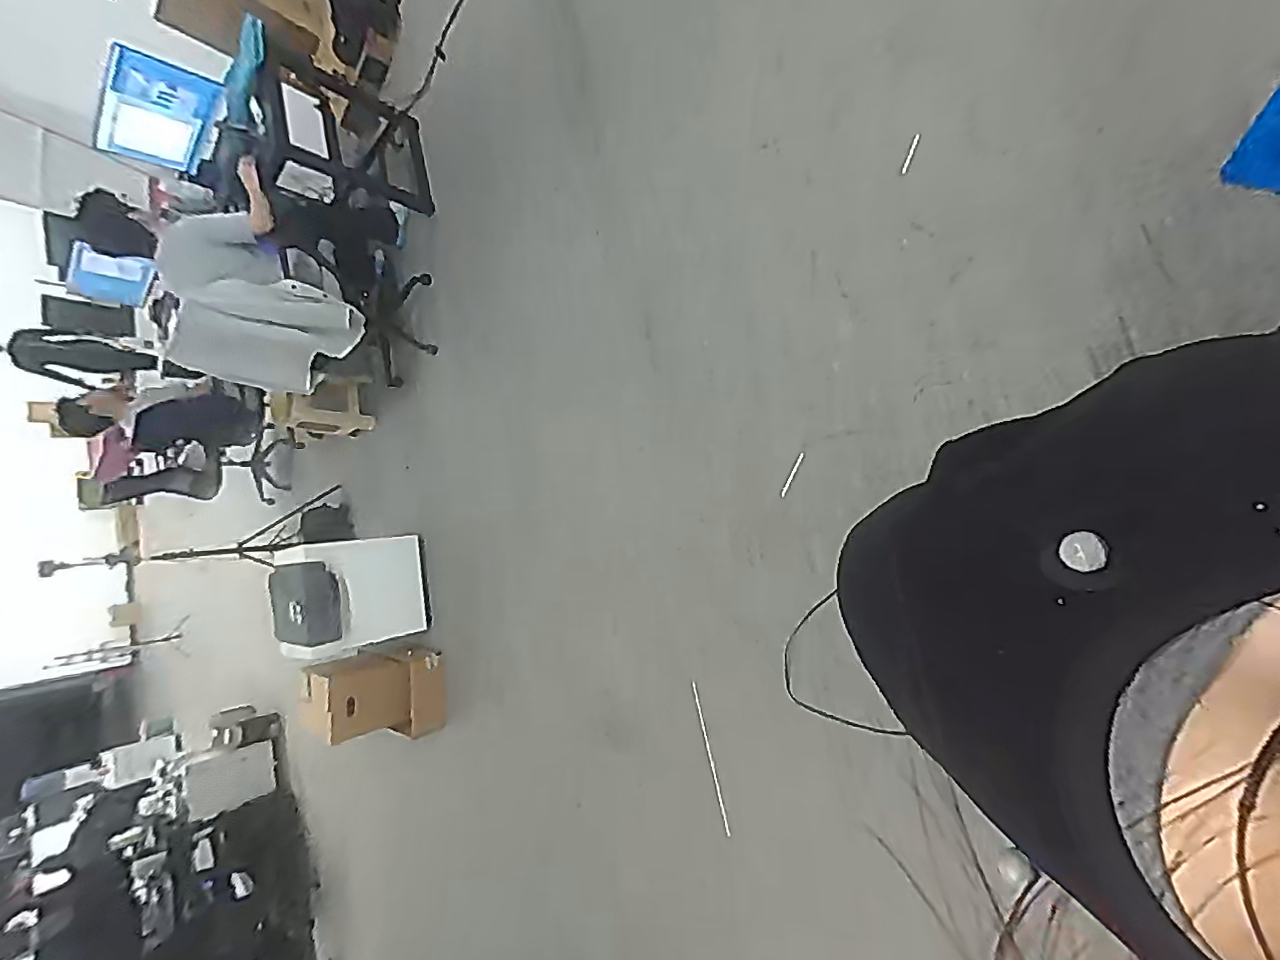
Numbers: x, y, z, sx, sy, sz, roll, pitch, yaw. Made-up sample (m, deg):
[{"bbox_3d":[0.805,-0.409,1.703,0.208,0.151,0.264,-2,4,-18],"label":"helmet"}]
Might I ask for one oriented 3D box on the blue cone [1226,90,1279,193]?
[{"bbox_3d":[1.094,-0.605,0.832,0.193,0.380,0.192,36,113,35],"label":"blue cone"}]
